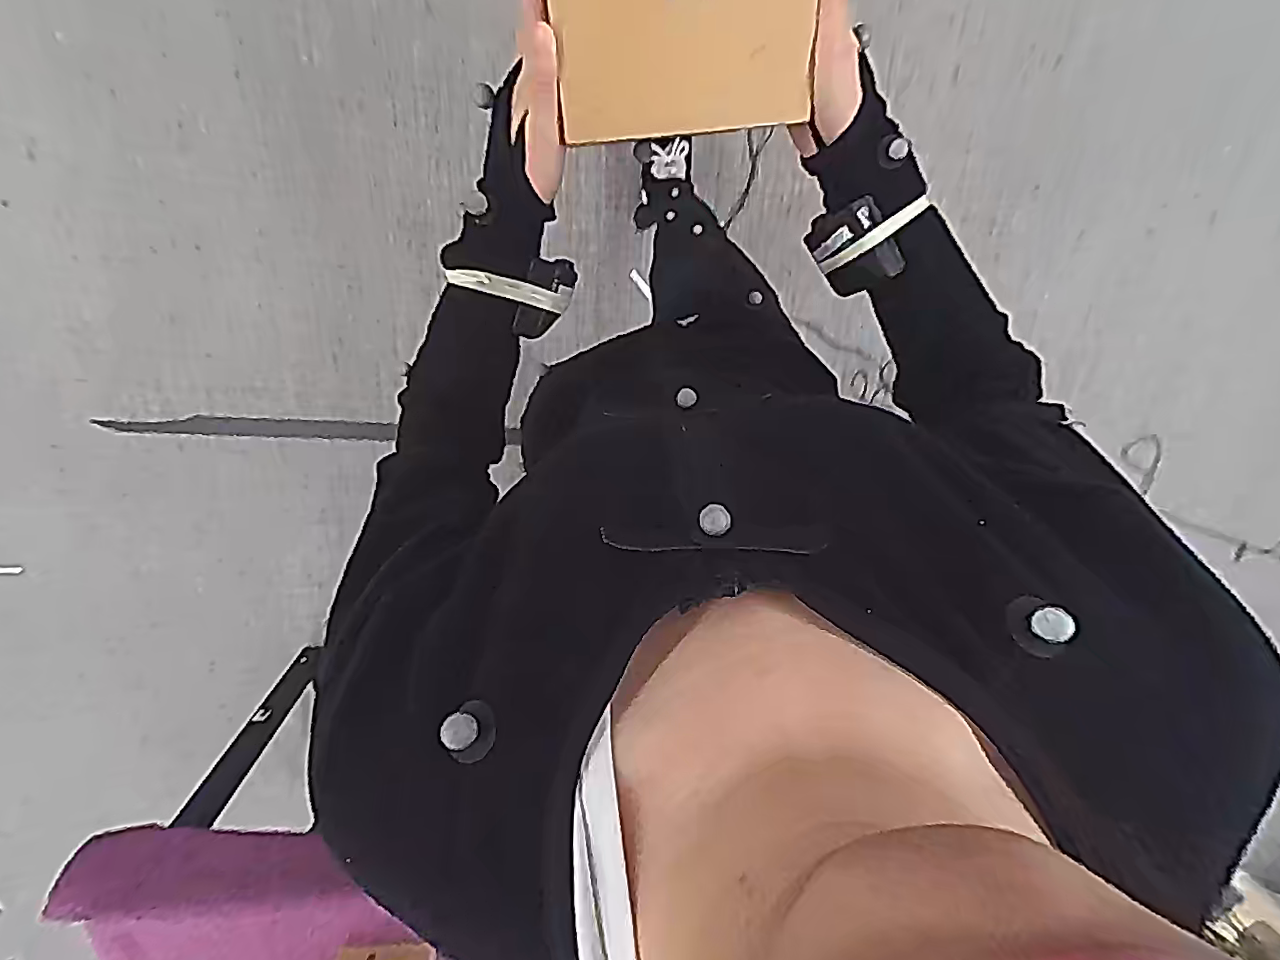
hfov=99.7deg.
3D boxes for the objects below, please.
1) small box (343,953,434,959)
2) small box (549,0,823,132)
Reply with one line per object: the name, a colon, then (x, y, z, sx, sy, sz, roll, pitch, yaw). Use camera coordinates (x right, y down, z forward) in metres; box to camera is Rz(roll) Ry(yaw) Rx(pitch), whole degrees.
small box: (-0.458, 0.961, 0.934, 0.168, 0.176, 0.179, 4, 110, -7)
small box: (0.019, -0.352, 0.376, 0.168, 0.176, 0.179, -8, 121, -4)
